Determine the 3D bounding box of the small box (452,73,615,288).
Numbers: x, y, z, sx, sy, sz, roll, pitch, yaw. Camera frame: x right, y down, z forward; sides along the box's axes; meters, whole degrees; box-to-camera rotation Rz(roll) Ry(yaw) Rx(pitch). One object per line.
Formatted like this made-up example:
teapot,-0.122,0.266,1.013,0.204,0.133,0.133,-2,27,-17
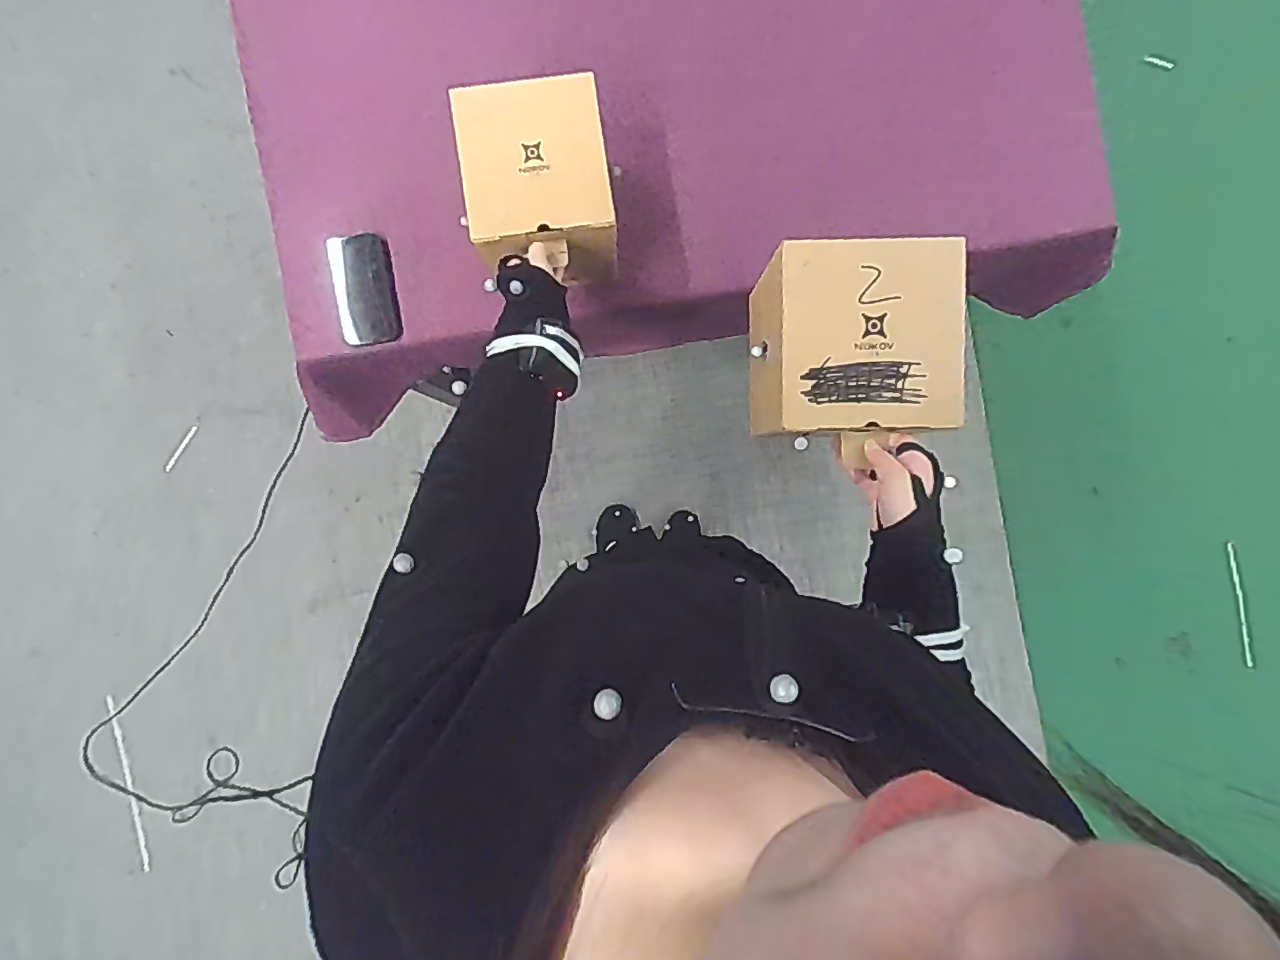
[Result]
small box,-0.126,-0.369,0.694,0.168,0.176,0.179,-9,91,-2
